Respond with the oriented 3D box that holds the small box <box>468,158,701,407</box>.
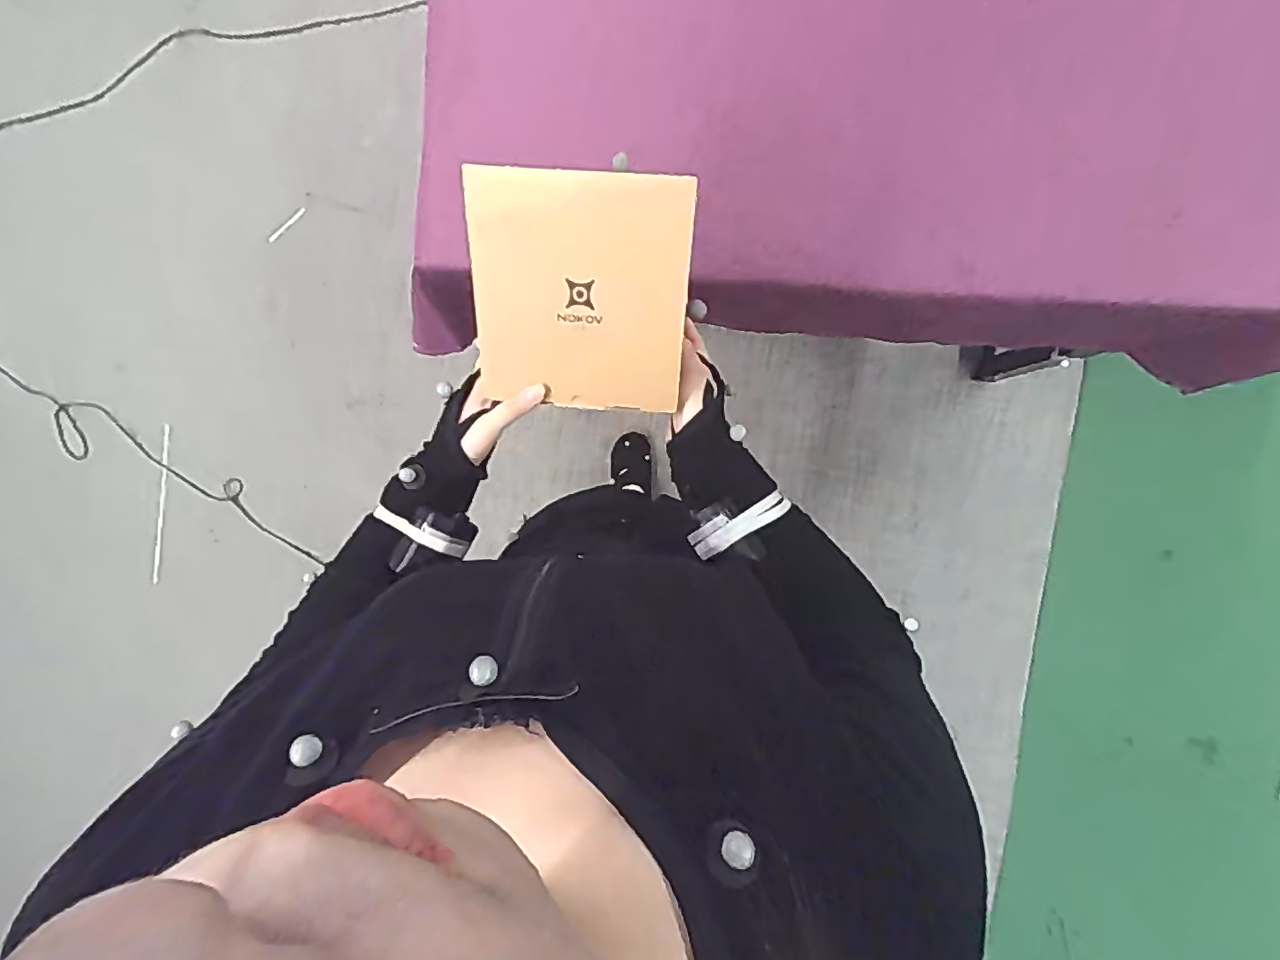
[{"bbox_3d":[-0.039,-0.181,0.483,0.168,0.176,0.179,4,120,2],"label":"small box"}]
